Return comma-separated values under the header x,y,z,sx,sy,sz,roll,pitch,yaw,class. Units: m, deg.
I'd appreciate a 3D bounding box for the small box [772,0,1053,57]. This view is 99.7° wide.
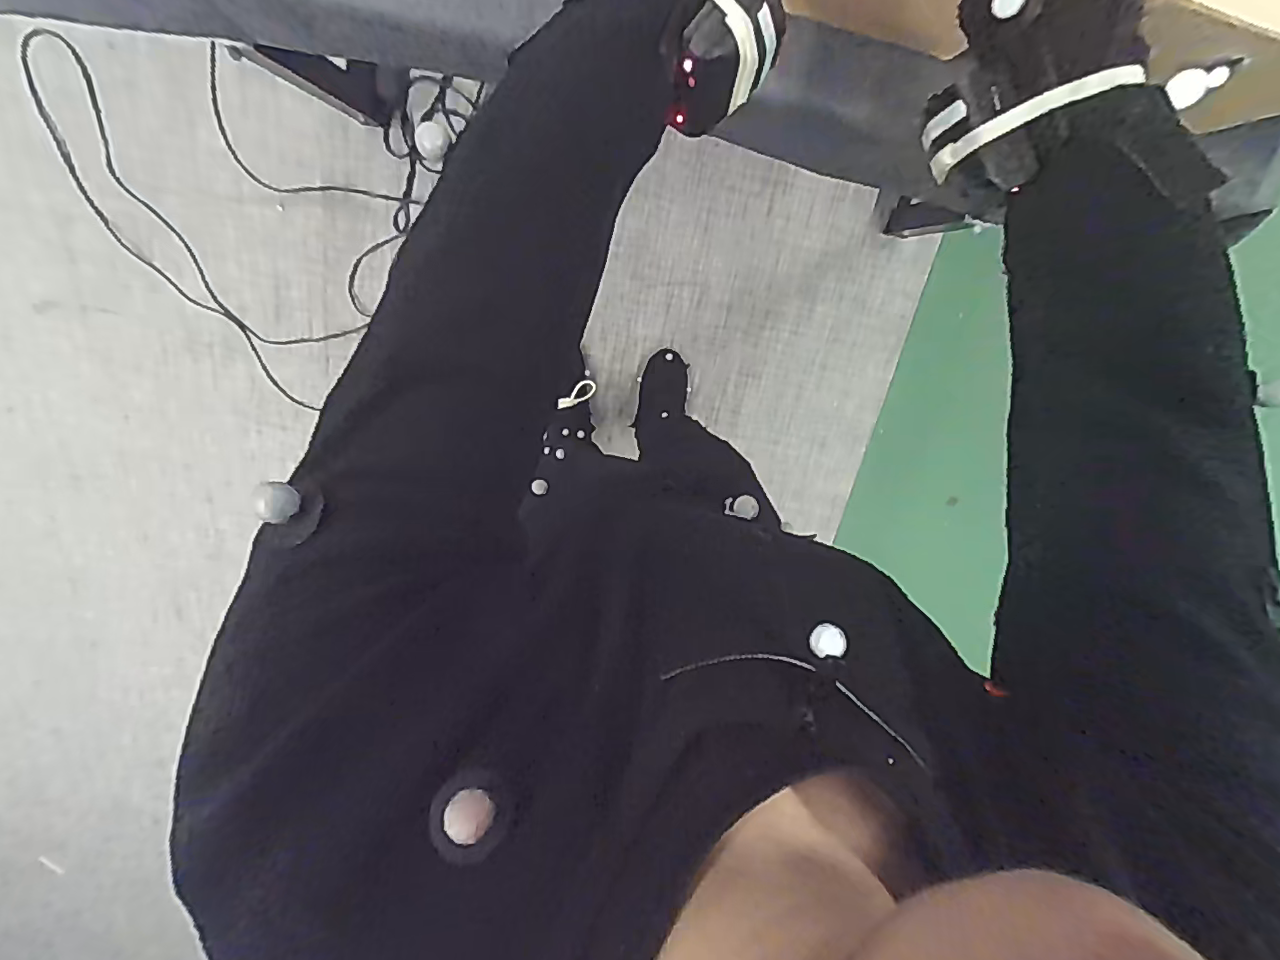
x,y,z,sx,sy,sz,roll,pitch,yaw,class
0.210,-0.426,0.365,0.179,0.176,0.168,12,110,-5,small box
